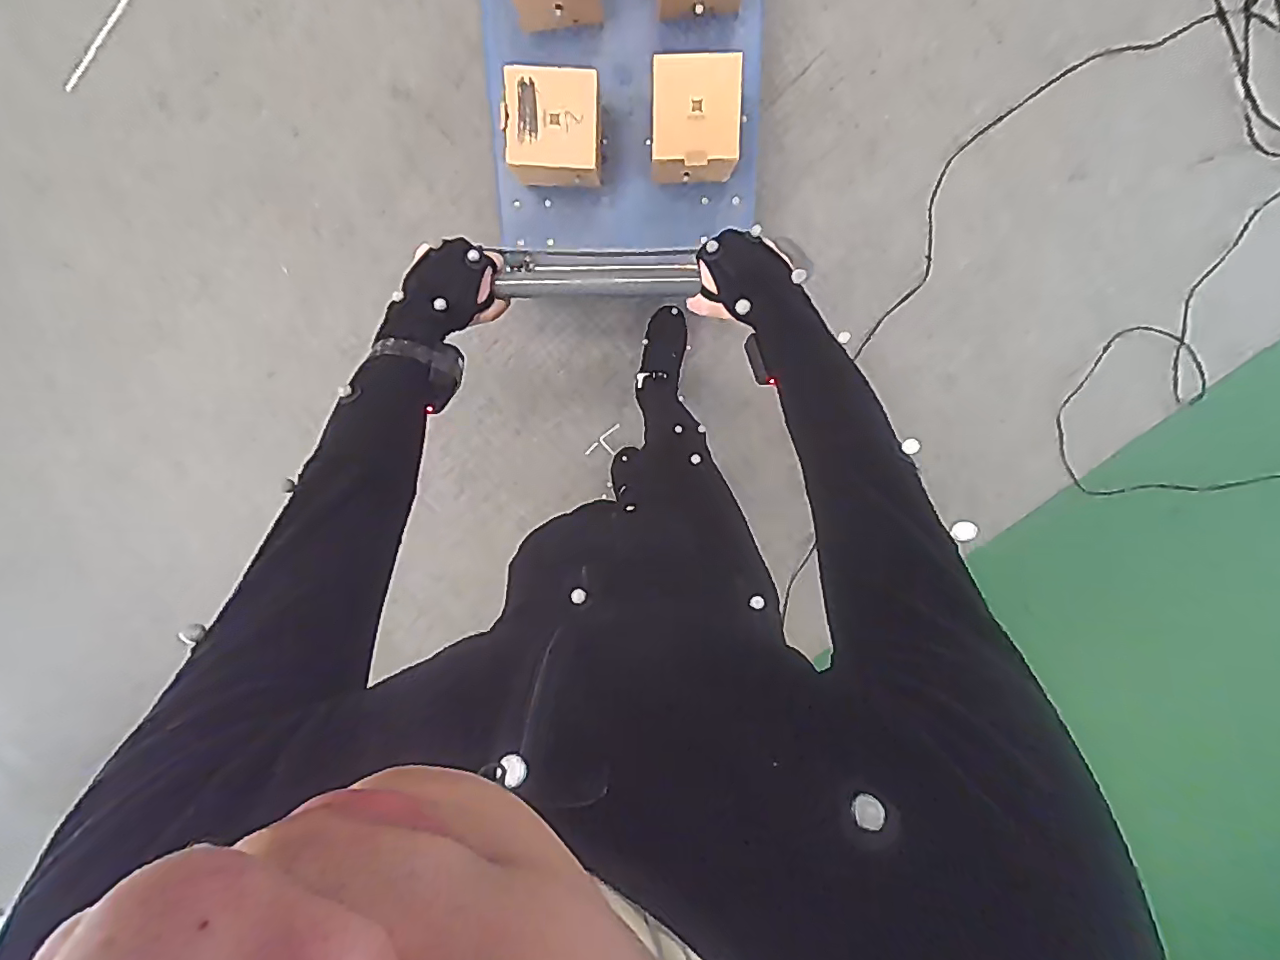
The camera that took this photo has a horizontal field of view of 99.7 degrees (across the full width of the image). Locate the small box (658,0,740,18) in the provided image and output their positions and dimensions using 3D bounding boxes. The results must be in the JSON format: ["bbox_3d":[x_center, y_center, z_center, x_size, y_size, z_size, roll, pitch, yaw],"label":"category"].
[{"bbox_3d":[0.110,-1.001,0.993,0.168,0.176,0.179,-5,108,3],"label":"small box"}]

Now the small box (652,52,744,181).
[{"bbox_3d":[0.108,-0.718,1.084,0.168,0.176,0.179,0,108,1],"label":"small box"}]

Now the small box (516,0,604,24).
[{"bbox_3d":[-0.160,-0.986,1.002,0.168,0.176,0.179,-6,107,2],"label":"small box"}]
